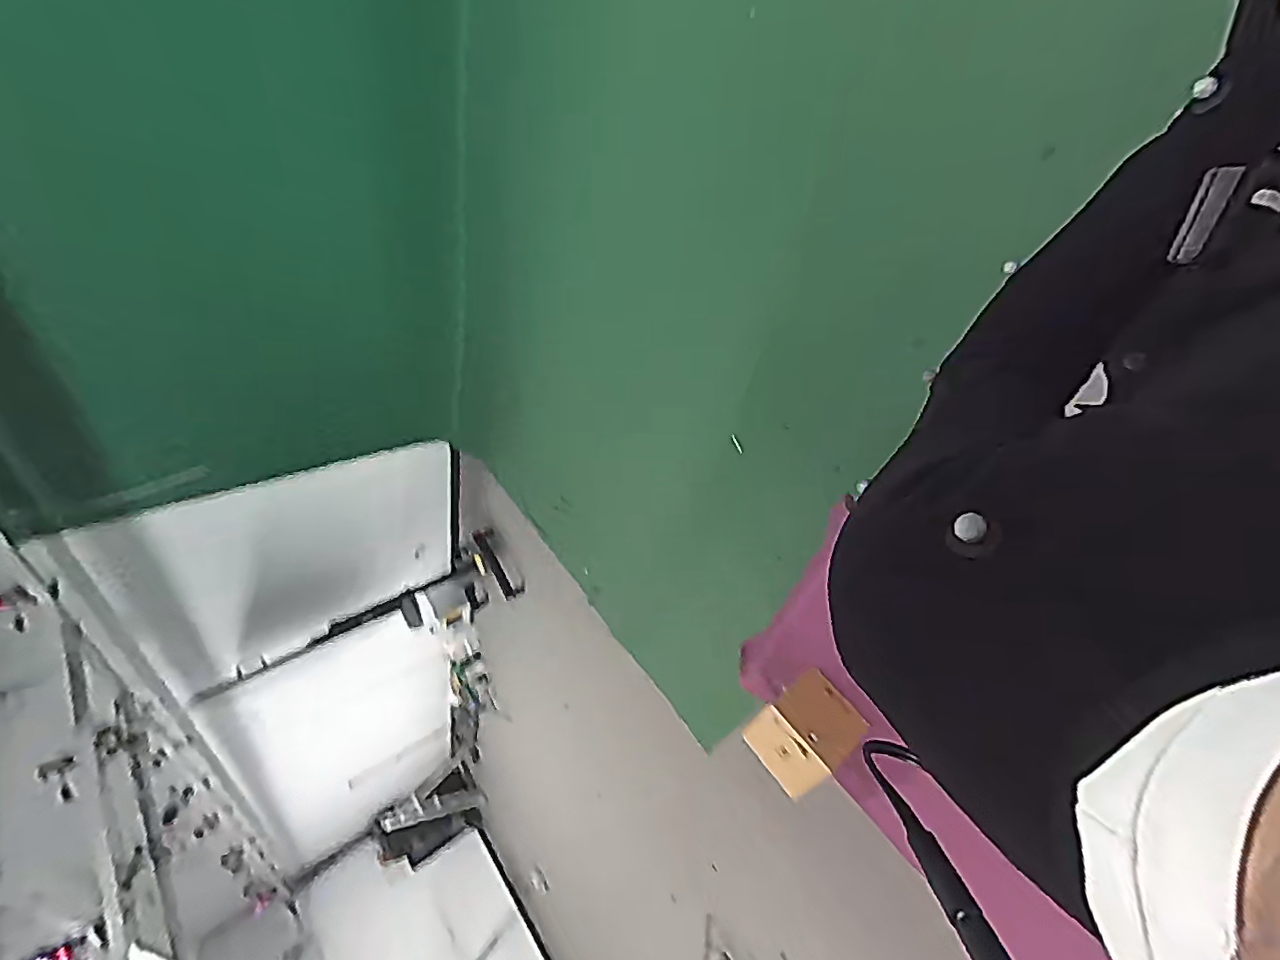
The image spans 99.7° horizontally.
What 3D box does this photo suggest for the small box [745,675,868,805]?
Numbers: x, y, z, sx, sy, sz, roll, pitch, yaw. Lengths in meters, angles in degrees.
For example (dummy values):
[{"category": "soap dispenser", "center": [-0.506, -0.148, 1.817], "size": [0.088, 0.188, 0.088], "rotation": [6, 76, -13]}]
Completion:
[{"category": "small box", "center": [0.371, 0.575, 1.206], "size": [0.168, 0.176, 0.179], "rotation": [45, 138, 28]}]
